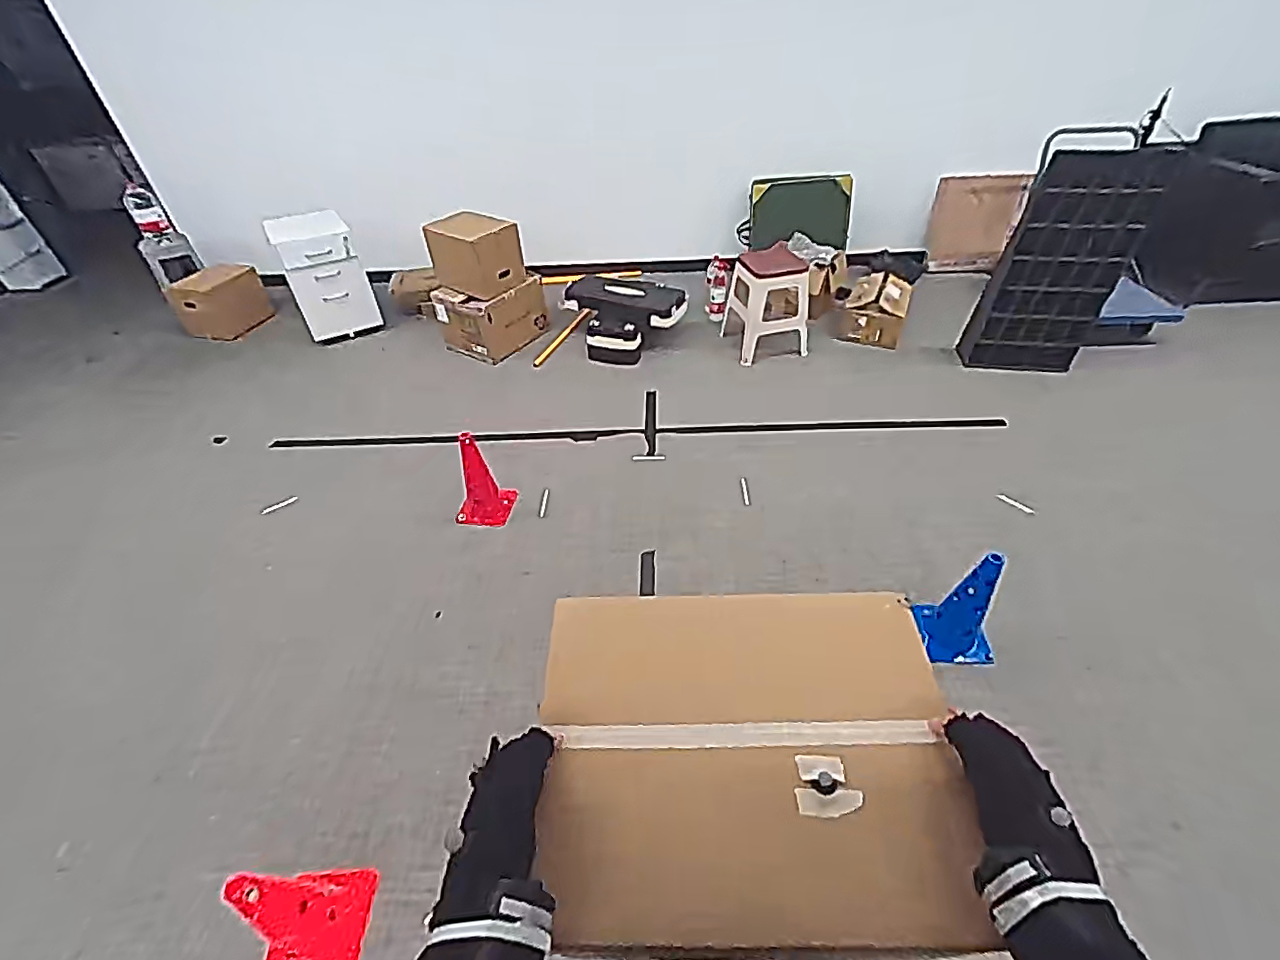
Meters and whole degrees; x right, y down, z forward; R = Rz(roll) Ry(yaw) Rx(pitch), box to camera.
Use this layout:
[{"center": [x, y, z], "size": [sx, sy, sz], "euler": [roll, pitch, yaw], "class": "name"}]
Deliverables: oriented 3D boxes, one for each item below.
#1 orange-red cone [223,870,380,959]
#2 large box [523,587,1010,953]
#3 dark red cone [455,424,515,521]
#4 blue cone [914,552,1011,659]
[{"center": [-0.697, 0.845, 1.062], "size": [0.198, 0.360, 0.199], "euler": [-4, 43, 1], "class": "orange-red cone"}, {"center": [0.104, 0.347, 0.644], "size": [0.408, 0.320, 0.320], "euler": [-2, 47, 2], "class": "large box"}, {"center": [-0.608, -0.037, 2.013], "size": [0.201, 0.394, 0.202], "euler": [3, 42, 6], "class": "dark red cone"}, {"center": [0.951, 0.341, 1.546], "size": [0.192, 0.380, 0.193], "euler": [2, 42, 4], "class": "blue cone"}]
